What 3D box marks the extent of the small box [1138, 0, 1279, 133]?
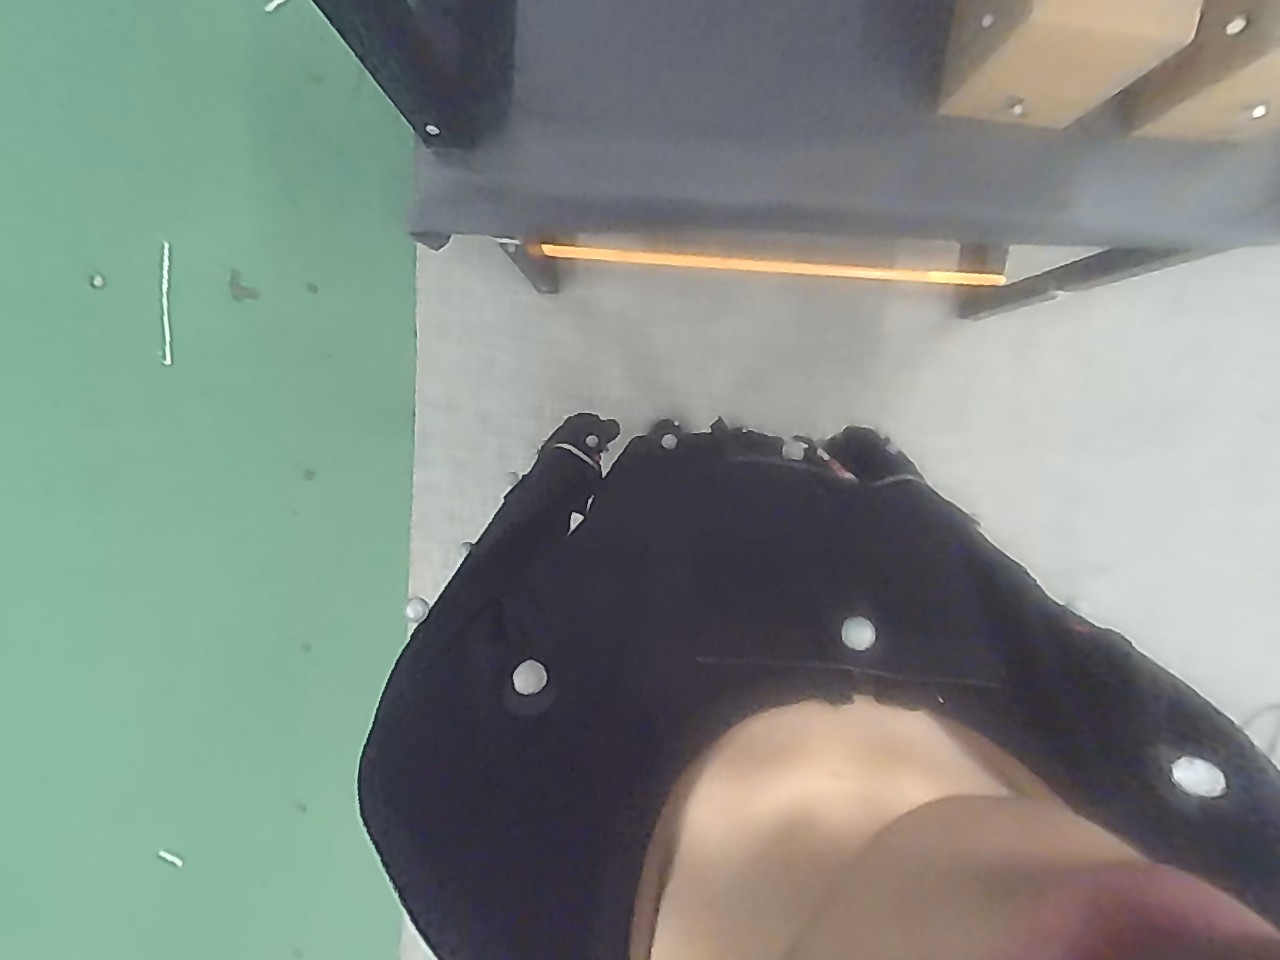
[{"bbox_3d":[0.713,-0.518,0.600,0.168,0.176,0.179,3,96,-1],"label":"small box"}]
